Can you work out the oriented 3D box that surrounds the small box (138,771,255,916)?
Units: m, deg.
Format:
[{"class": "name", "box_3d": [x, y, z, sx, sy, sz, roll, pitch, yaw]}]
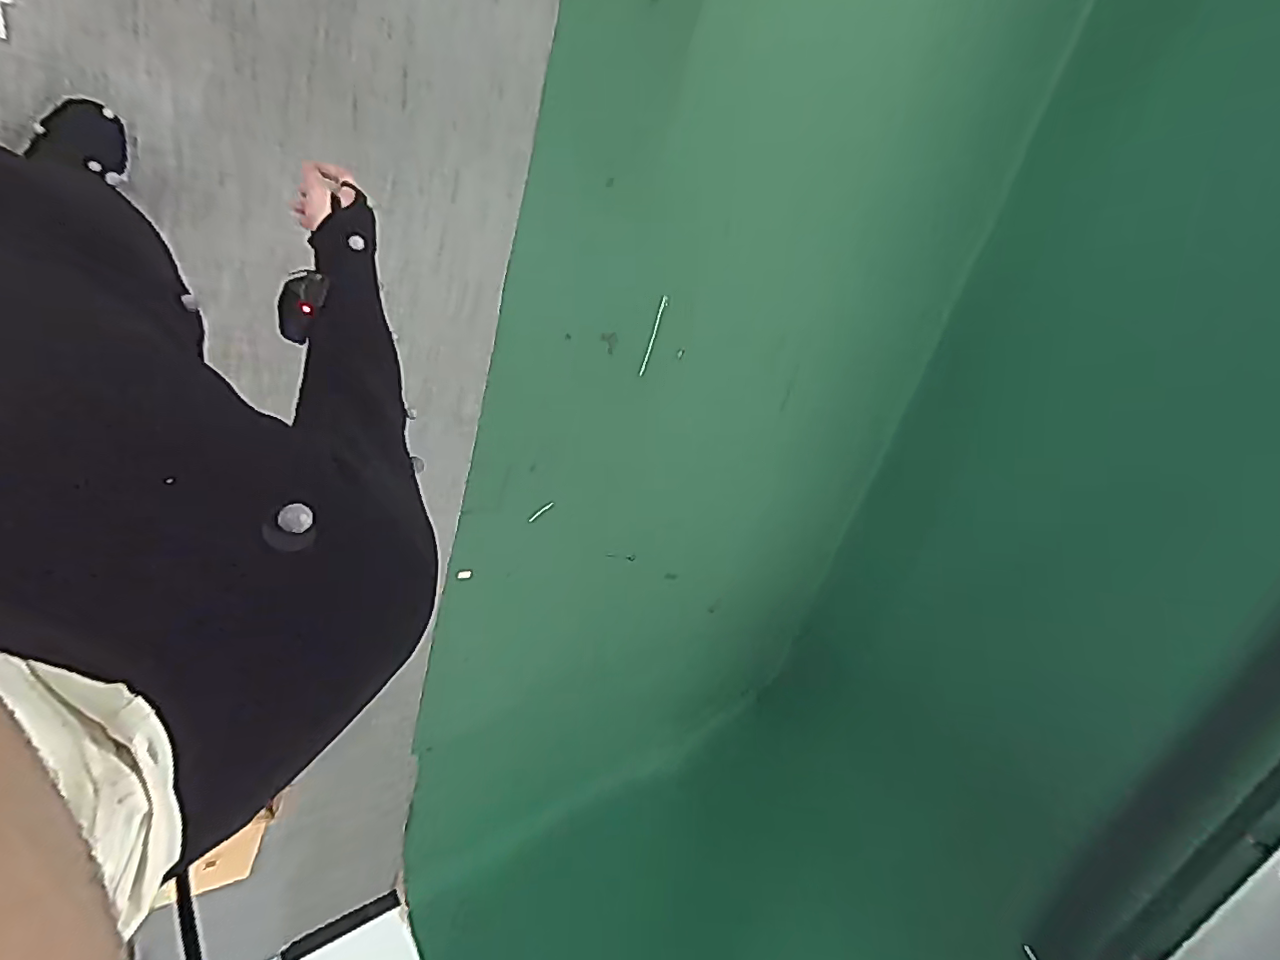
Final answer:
[{"class": "small box", "box_3d": [-0.967, 0.780, 1.179, 0.168, 0.176, 0.179, 11, 108, -46]}]

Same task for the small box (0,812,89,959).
[{"class": "small box", "box_3d": [-1.138, 0.749, 0.991, 0.168, 0.176, 0.179, 9, 111, -46]}]

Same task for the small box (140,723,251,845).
[{"class": "small box", "box_3d": [-1.065, 0.712, 1.292, 0.179, 0.176, 0.168, 10, 109, -46]}]
